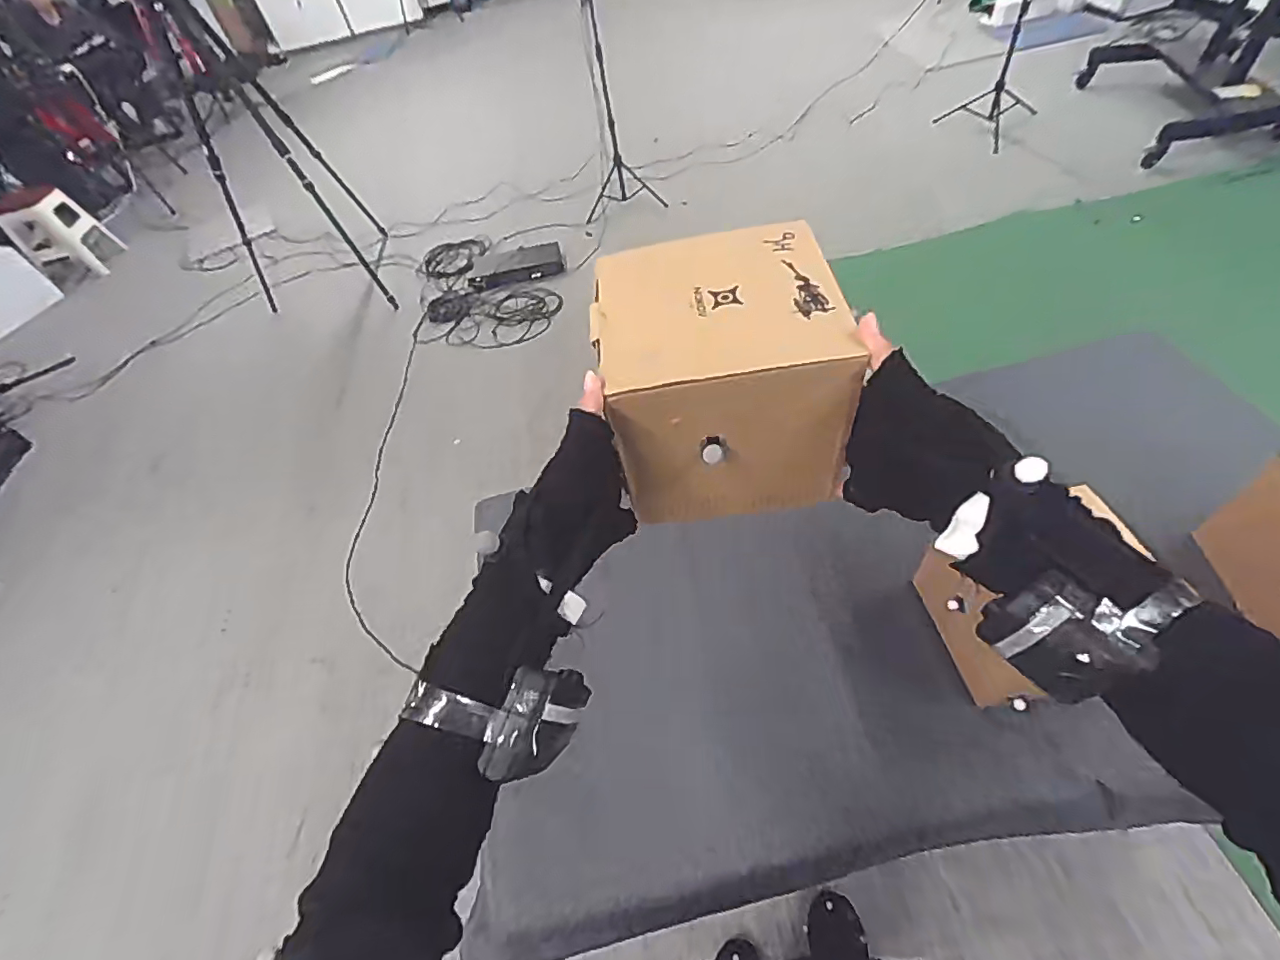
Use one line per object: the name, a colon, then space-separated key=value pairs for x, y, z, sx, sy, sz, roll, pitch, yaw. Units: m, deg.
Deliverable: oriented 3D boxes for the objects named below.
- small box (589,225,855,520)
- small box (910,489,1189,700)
small box: x=0.061 y=-0.081 z=0.457 sx=0.179 sy=0.176 sz=0.168 roll=-8 pitch=54 yaw=5
small box: x=0.447 y=0.142 z=0.632 sx=0.168 sy=0.176 sz=0.179 roll=-12 pitch=50 yaw=1
